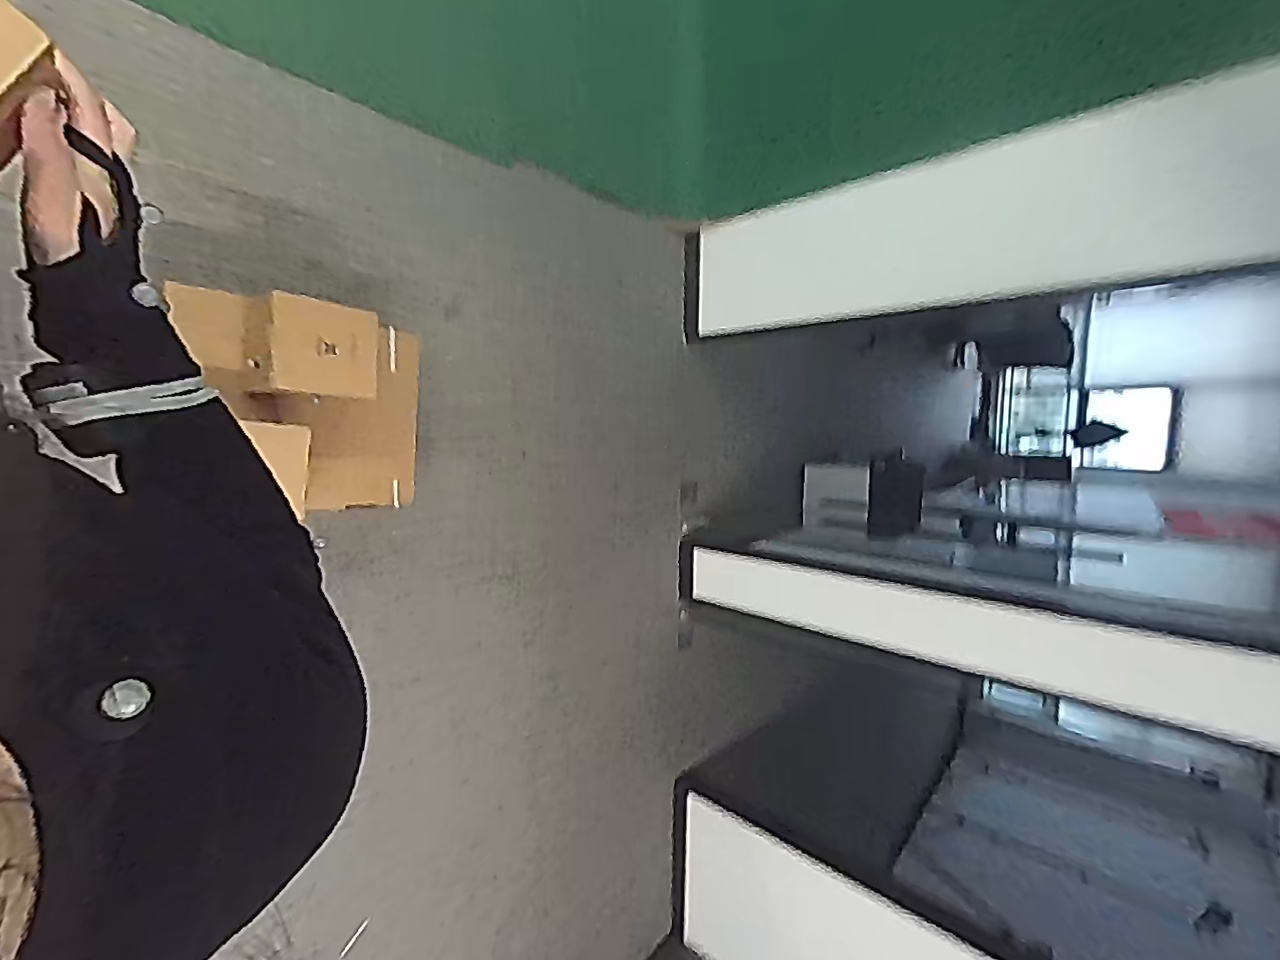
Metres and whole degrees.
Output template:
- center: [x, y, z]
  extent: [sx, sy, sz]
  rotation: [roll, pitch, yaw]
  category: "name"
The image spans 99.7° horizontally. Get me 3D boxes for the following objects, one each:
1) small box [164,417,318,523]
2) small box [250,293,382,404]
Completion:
- center: [-0.694, -0.018, 0.943]
  extent: [0.179, 0.176, 0.168]
  rotation: [4, 91, -50]
  category: "small box"
- center: [-0.612, -0.236, 1.019]
  extent: [0.179, 0.176, 0.168]
  rotation: [0, 94, -50]
  category: "small box"
